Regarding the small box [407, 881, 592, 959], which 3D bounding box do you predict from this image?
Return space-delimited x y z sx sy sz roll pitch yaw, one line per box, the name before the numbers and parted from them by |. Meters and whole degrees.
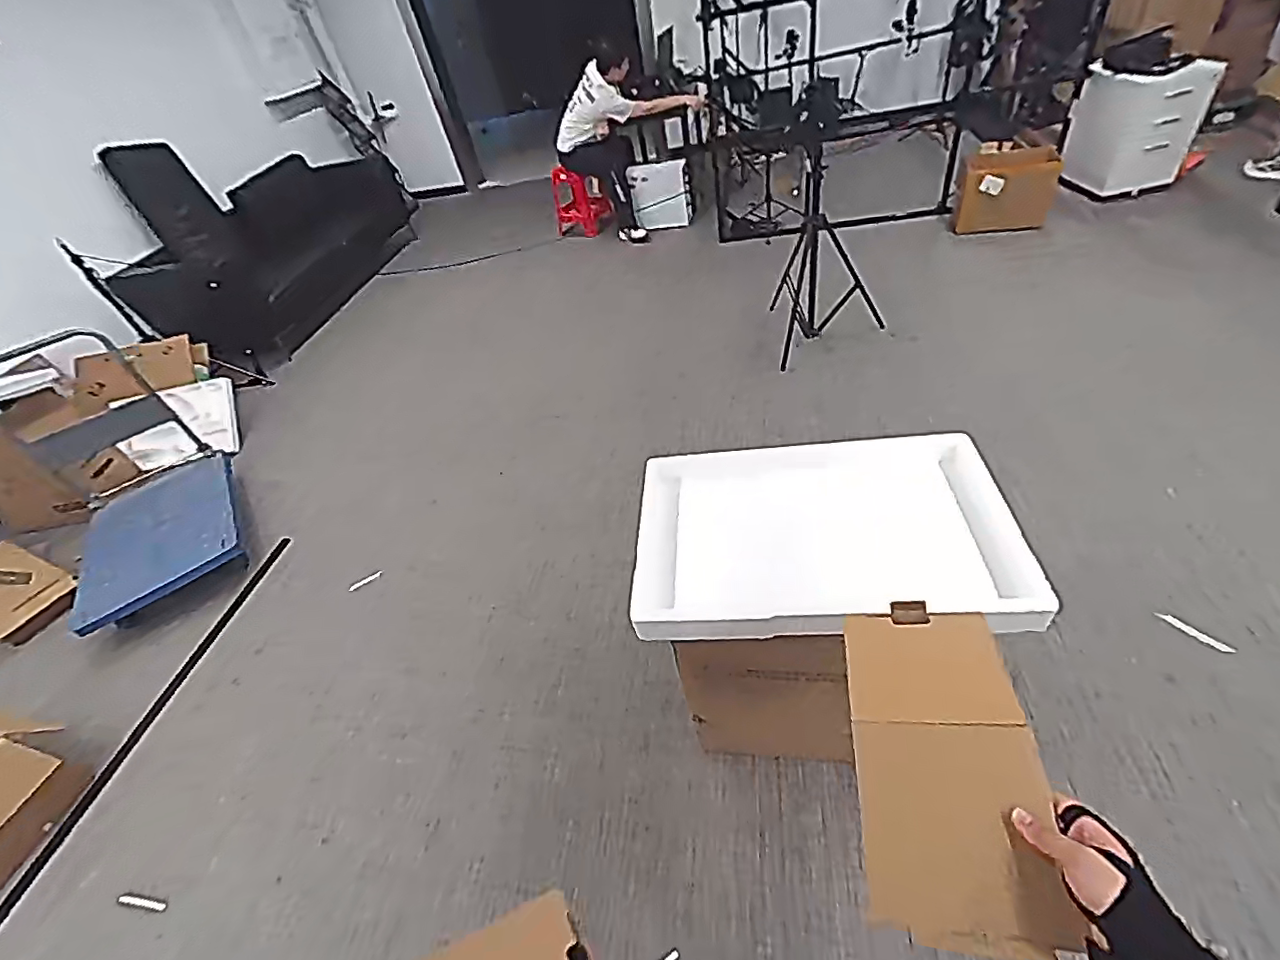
small box | -0.146 0.587 0.573 0.179 0.176 0.168 -1 33 -34
